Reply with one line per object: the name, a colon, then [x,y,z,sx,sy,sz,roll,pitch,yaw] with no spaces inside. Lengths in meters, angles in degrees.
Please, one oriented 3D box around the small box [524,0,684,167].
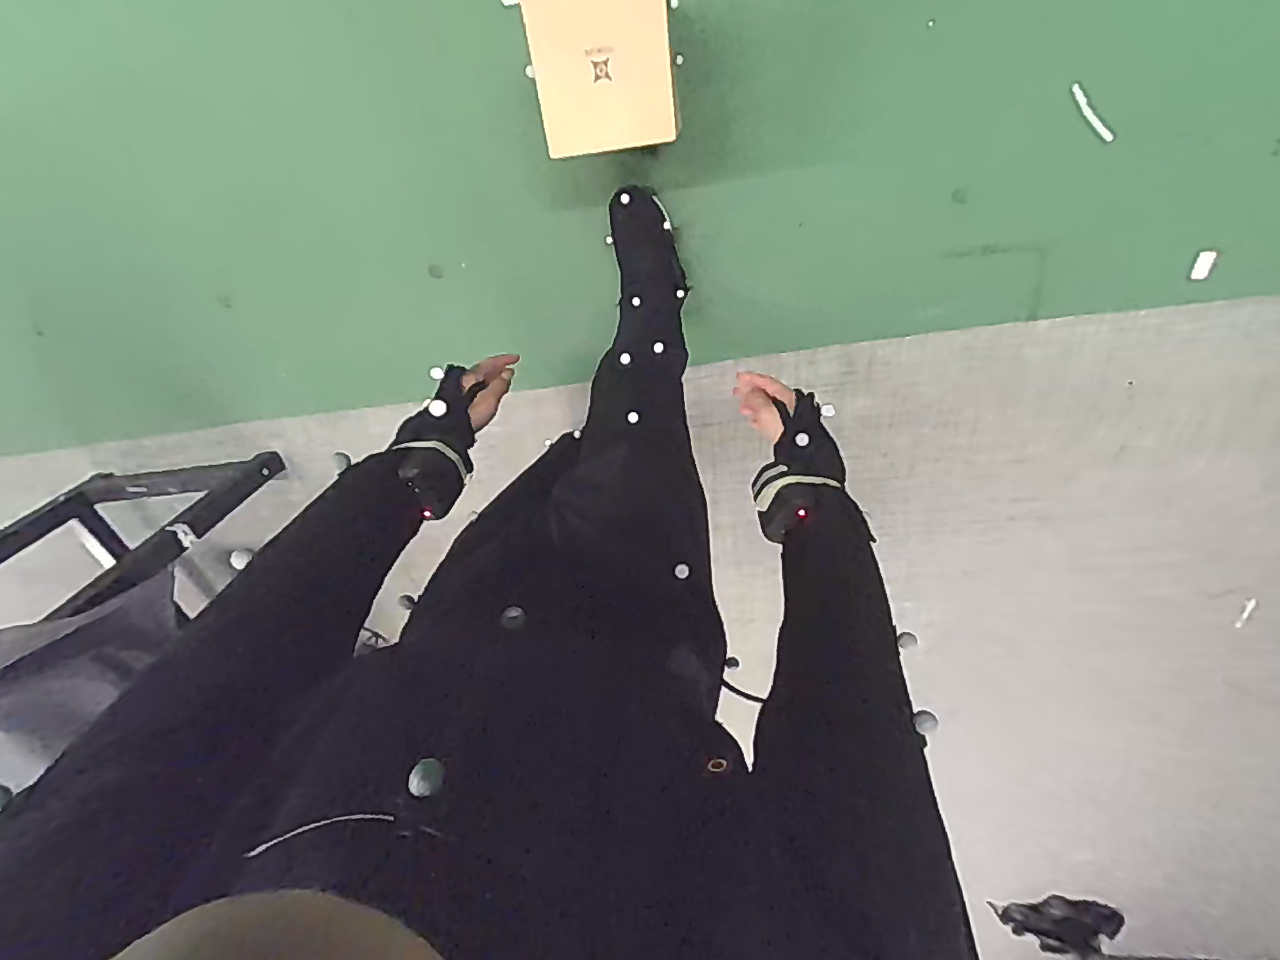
small box: [-0.033,-0.524,0.703,0.168,0.176,0.179,-4,122,9]
